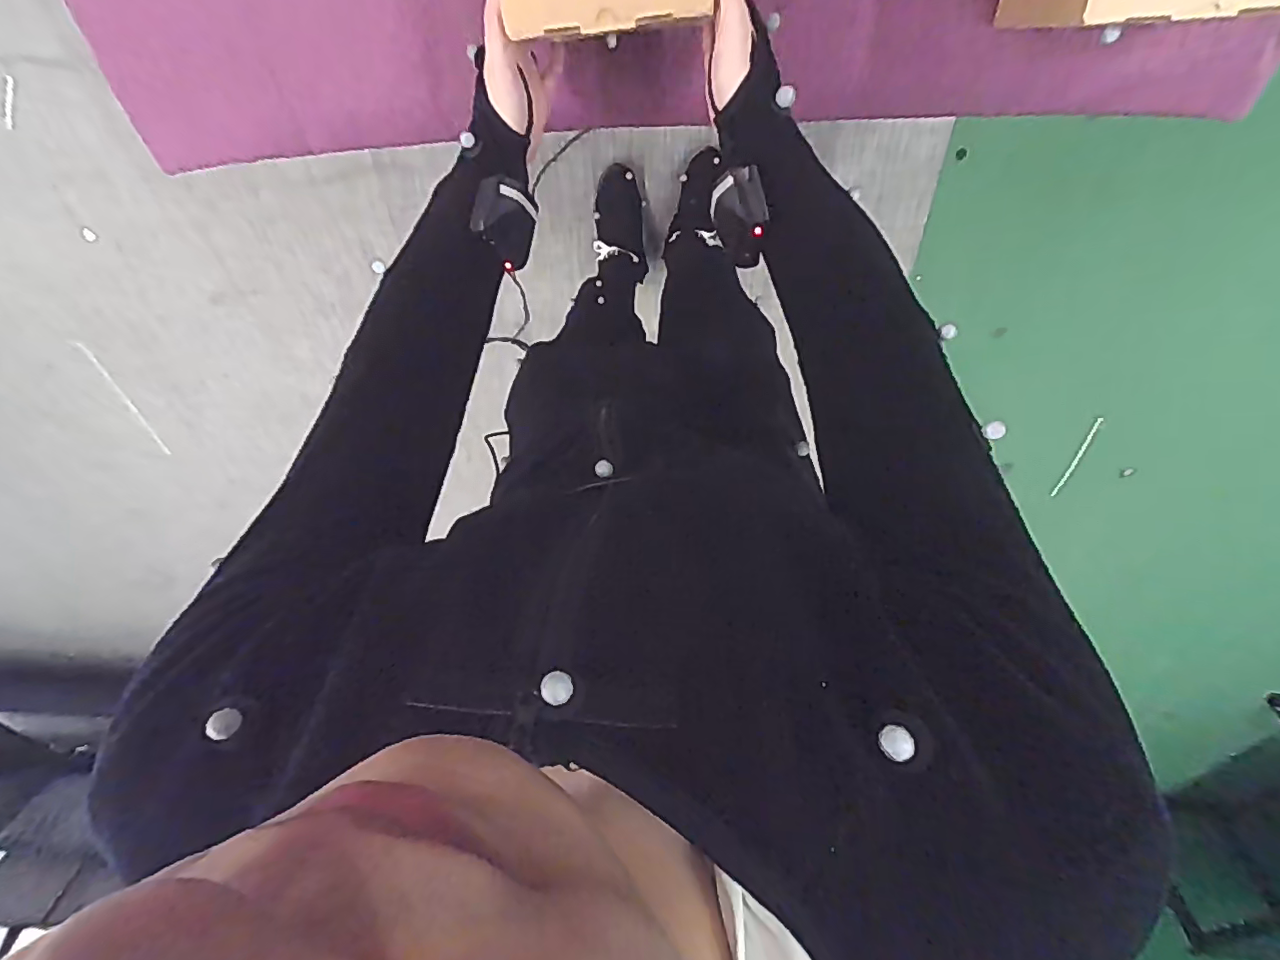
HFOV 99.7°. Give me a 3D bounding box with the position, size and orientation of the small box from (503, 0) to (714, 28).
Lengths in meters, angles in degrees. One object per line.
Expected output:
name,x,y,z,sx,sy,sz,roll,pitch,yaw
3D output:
small box,-0.026,-0.478,0.427,0.168,0.176,0.179,-1,131,7

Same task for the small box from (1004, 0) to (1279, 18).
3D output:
small box,0.403,-0.454,0.390,0.168,0.176,0.179,2,131,7
